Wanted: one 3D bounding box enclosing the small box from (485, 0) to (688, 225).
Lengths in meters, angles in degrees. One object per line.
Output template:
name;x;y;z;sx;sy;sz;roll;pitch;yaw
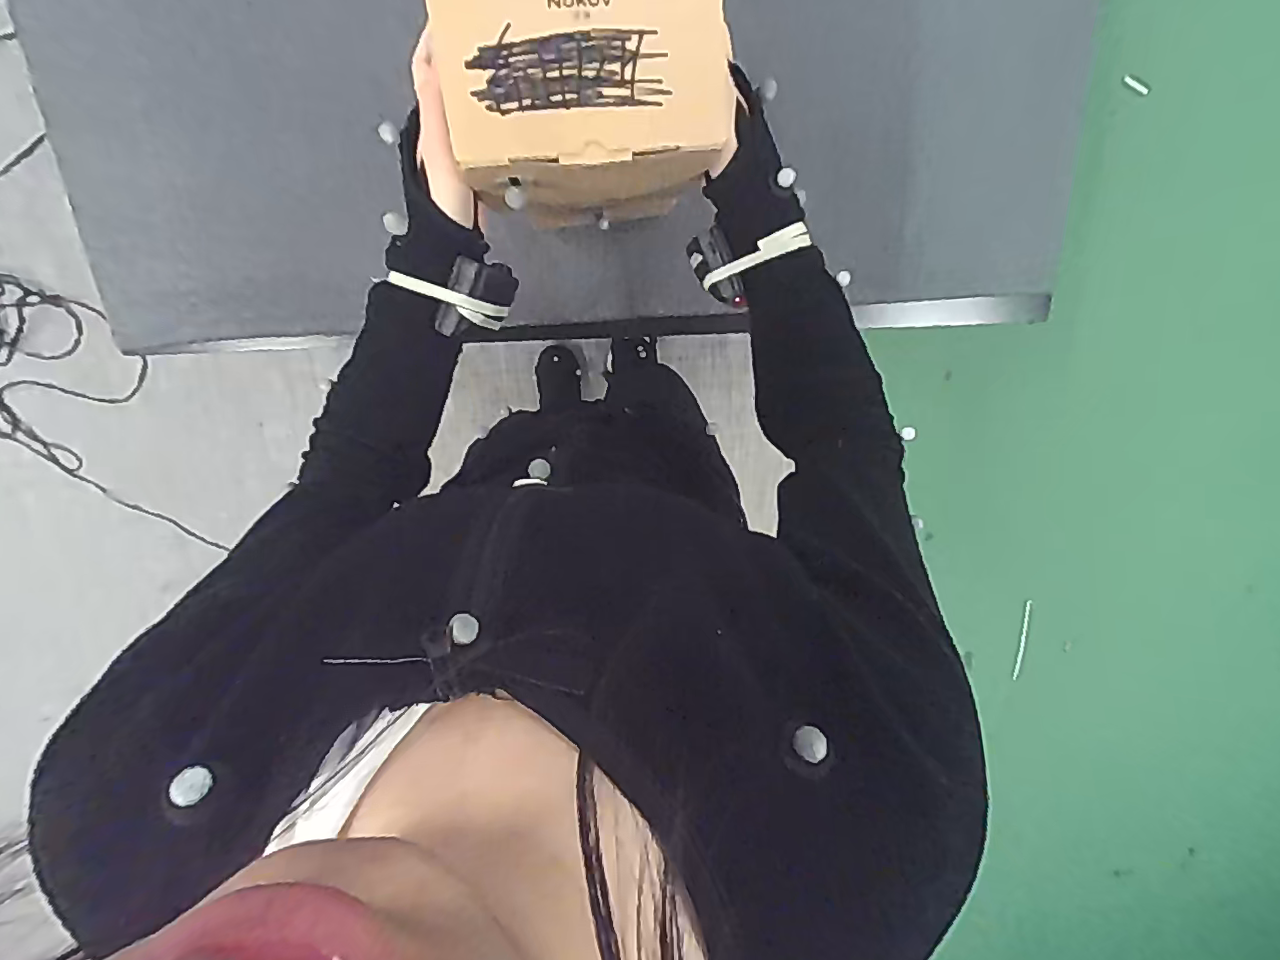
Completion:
small box;-0.051;-0.373;0.546;0.168;0.176;0.179;-7;107;-3
